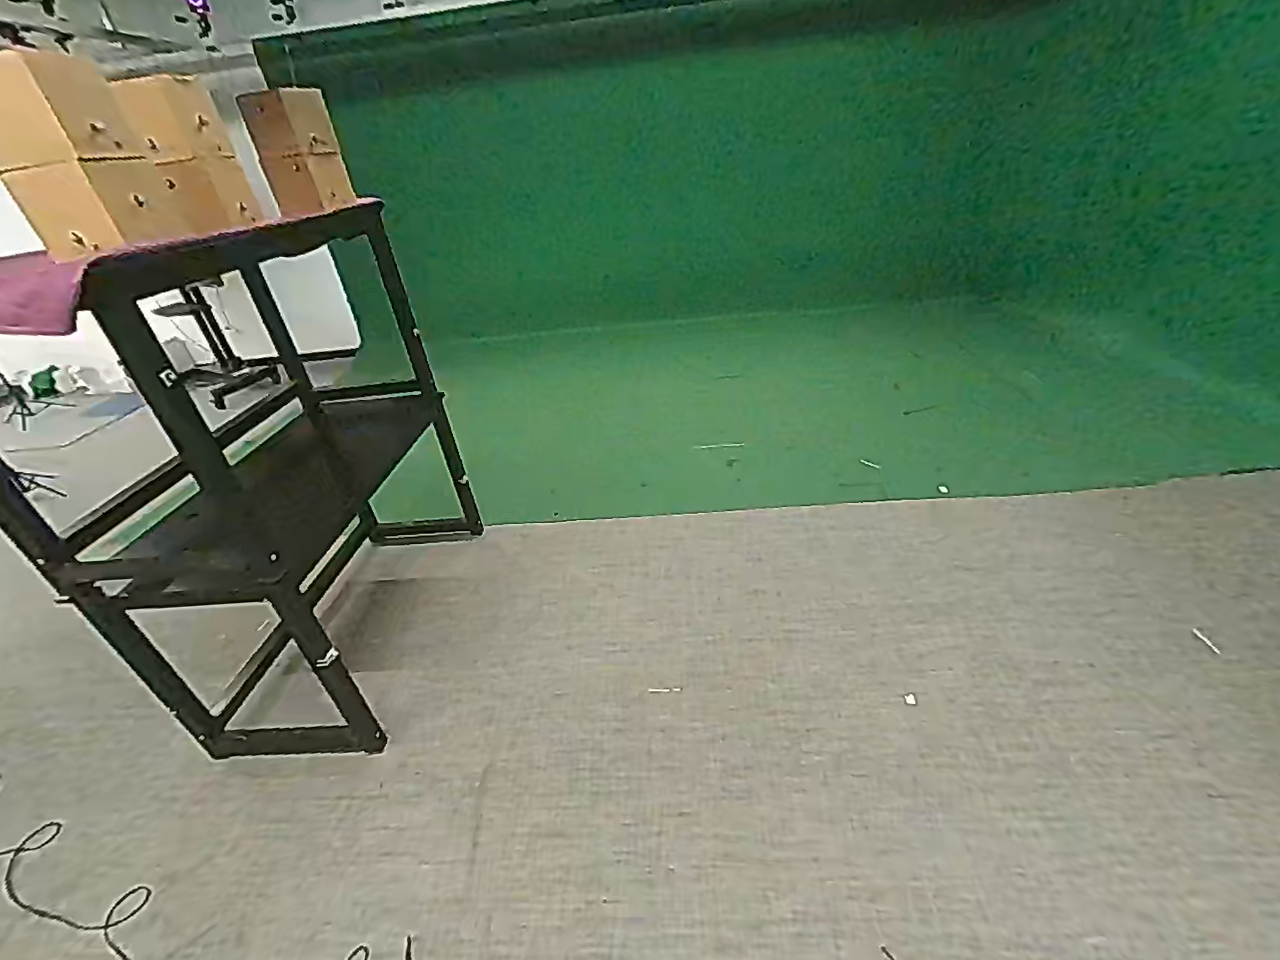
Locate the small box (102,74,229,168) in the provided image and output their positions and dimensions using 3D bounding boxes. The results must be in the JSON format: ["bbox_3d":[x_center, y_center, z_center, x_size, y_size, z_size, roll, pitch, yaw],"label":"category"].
[{"bbox_3d":[-1.162,-0.868,1.313,0.179,0.176,0.168,-6,32,2],"label":"small box"}]

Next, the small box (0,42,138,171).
[{"bbox_3d":[-1.117,-0.683,1.005,0.179,0.176,0.168,-7,32,2],"label":"small box"}]

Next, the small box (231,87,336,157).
[{"bbox_3d":[-1.084,-1.090,1.657,0.179,0.176,0.168,6,36,15],"label":"small box"}]

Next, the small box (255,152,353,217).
[{"bbox_3d":[-1.076,-0.954,1.745,0.179,0.176,0.168,3,34,13],"label":"small box"}]
